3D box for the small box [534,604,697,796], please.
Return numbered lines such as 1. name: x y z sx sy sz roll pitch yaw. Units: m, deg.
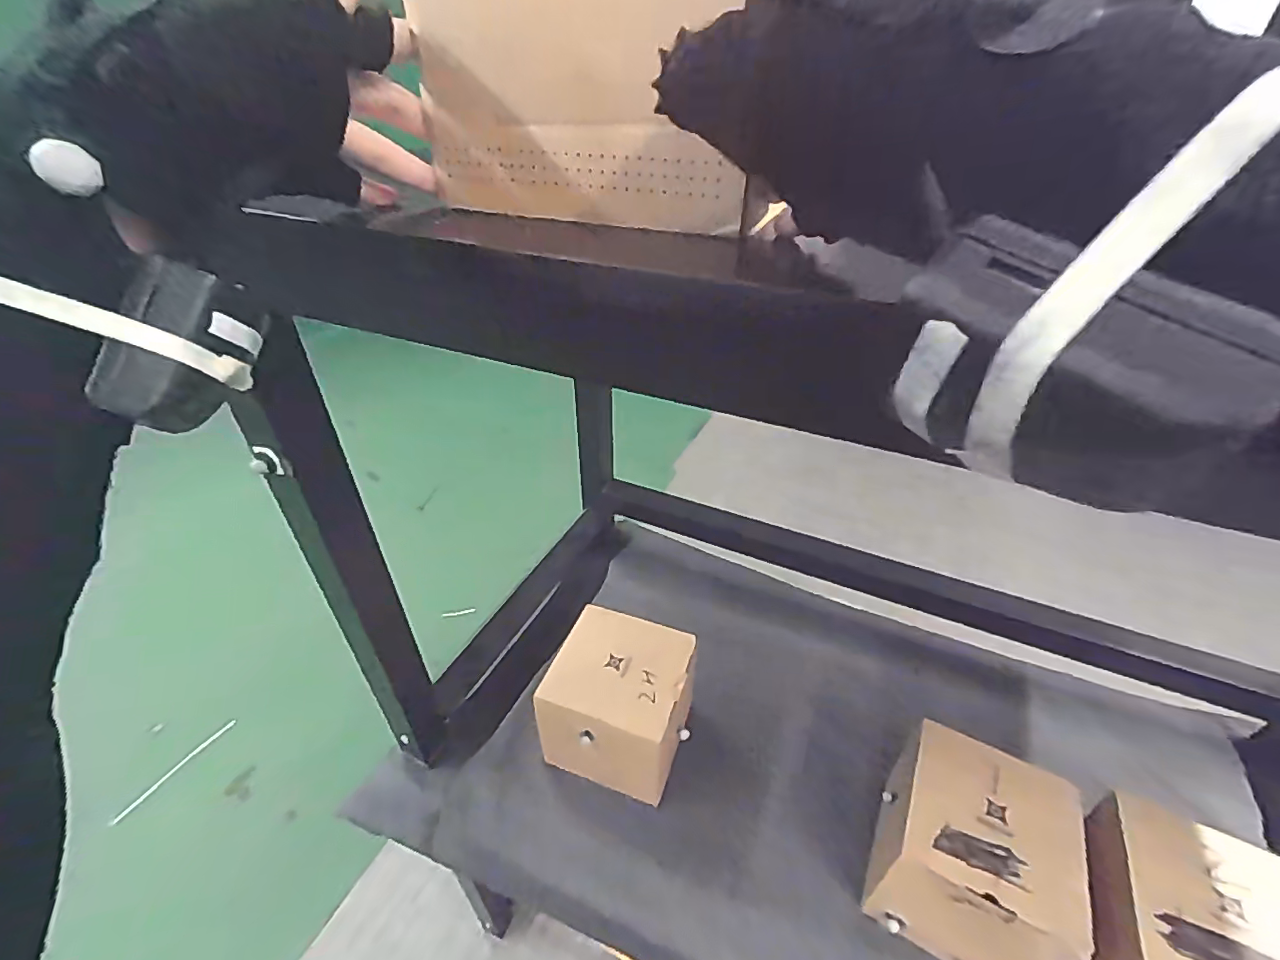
1. small box: -0.030 0.314 0.774 0.179 0.176 0.168 13 39 16
